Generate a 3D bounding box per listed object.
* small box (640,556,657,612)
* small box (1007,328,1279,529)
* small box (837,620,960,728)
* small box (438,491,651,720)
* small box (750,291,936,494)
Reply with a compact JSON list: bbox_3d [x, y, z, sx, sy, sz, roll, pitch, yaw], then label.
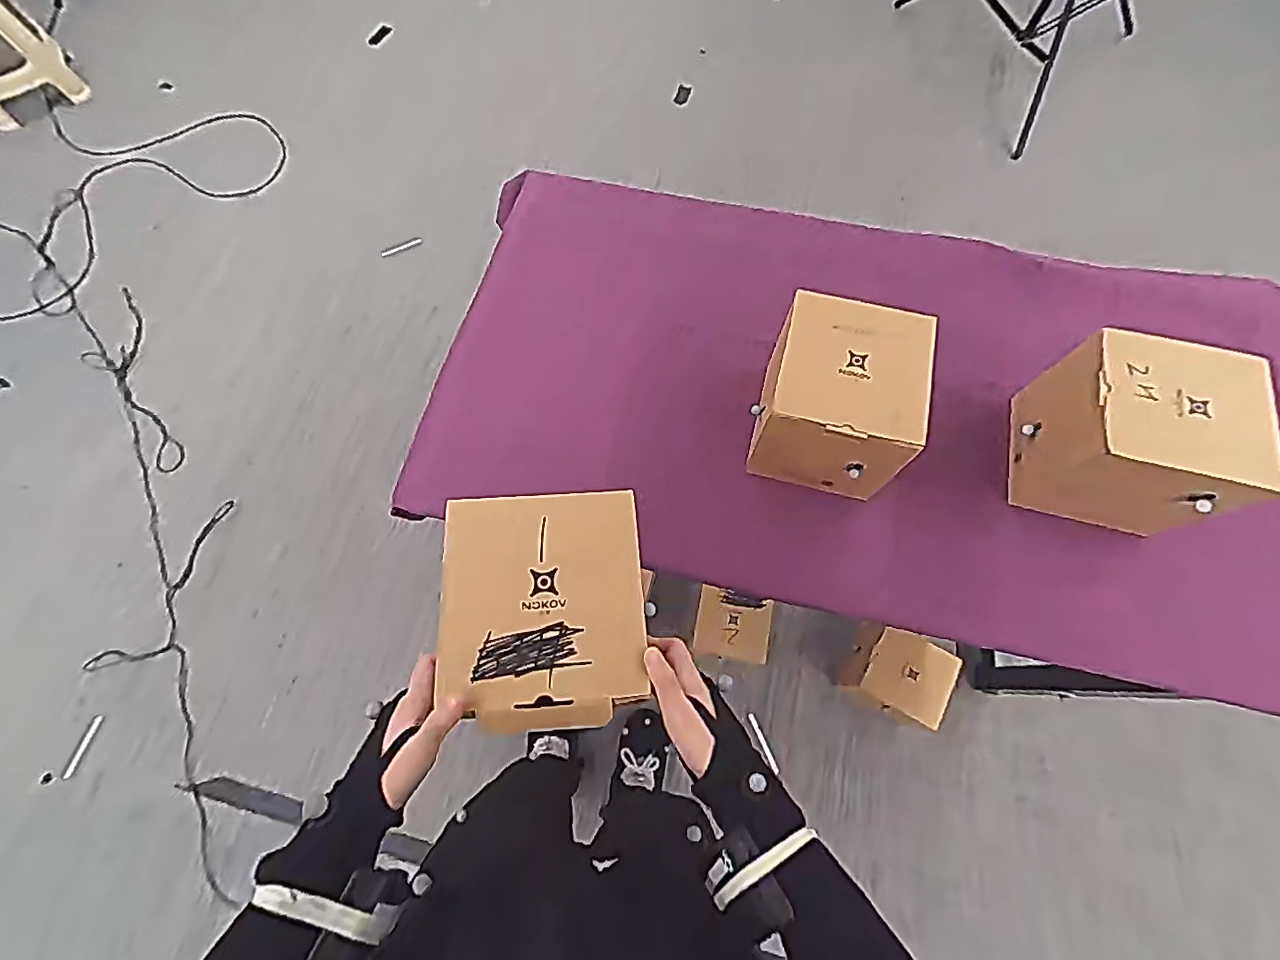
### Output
[{"bbox_3d":[-0.061,0.276,1.324,0.168,0.176,0.179,14,70,5],"label":"small box"},{"bbox_3d":[0.587,-0.051,0.653,0.179,0.176,0.168,14,70,7],"label":"small box"},{"bbox_3d":[0.588,0.443,1.249,0.179,0.176,0.168,28,73,12],"label":"small box"},{"bbox_3d":[-0.082,0.126,0.515,0.168,0.176,0.179,-4,65,-6],"label":"small box"},{"bbox_3d":[0.243,-0.100,0.680,0.168,0.176,0.179,14,68,5],"label":"small box"}]
